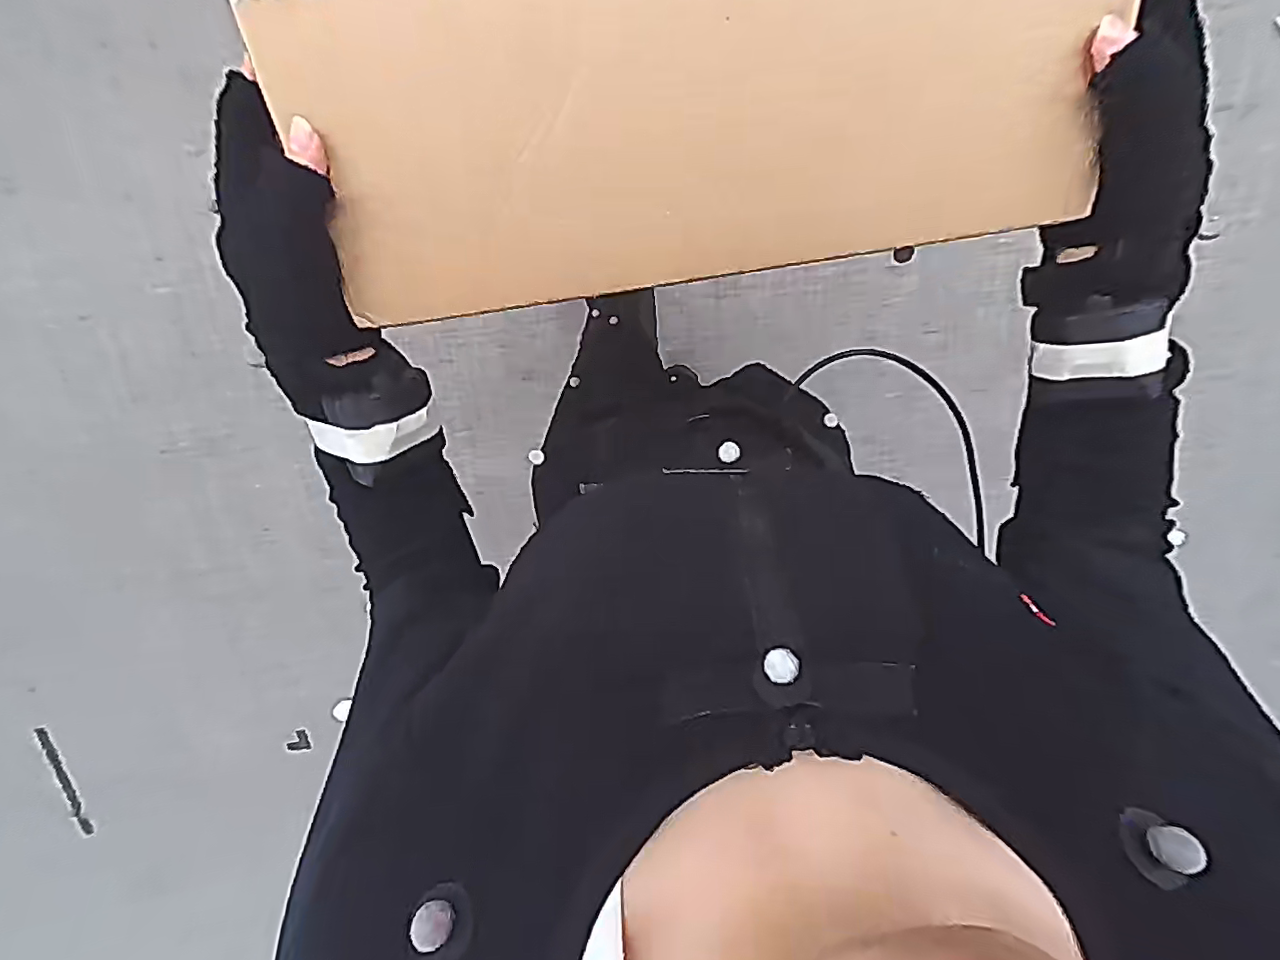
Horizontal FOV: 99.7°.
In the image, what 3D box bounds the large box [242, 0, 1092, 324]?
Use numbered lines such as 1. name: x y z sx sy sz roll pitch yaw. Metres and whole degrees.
1. large box: 0.009 -0.324 0.369 0.408 0.320 0.320 -8 117 3
